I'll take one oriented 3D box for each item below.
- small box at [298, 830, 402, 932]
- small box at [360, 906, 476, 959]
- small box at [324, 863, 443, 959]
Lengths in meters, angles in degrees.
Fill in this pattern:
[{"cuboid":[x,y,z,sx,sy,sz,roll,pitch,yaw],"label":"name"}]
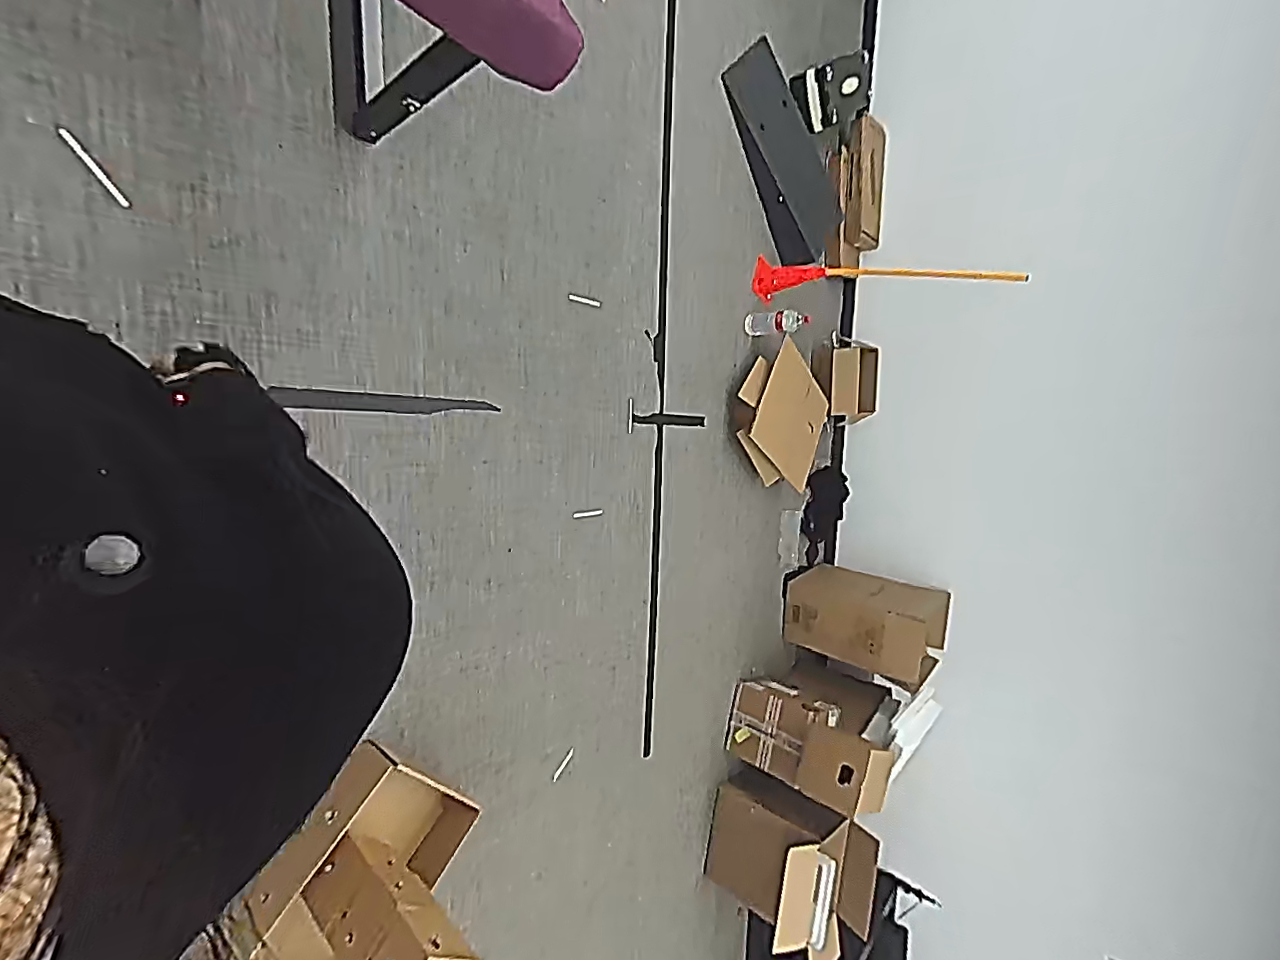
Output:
[{"cuboid":[-0.768,1.084,1.454,0.168,0.176,0.179,-55,132,-27],"label":"small box"},{"cuboid":[-0.523,1.122,1.240,0.168,0.176,0.179,-58,133,-23],"label":"small box"},{"cuboid":[-0.643,1.099,1.352,0.168,0.176,0.179,-58,135,-23],"label":"small box"}]
